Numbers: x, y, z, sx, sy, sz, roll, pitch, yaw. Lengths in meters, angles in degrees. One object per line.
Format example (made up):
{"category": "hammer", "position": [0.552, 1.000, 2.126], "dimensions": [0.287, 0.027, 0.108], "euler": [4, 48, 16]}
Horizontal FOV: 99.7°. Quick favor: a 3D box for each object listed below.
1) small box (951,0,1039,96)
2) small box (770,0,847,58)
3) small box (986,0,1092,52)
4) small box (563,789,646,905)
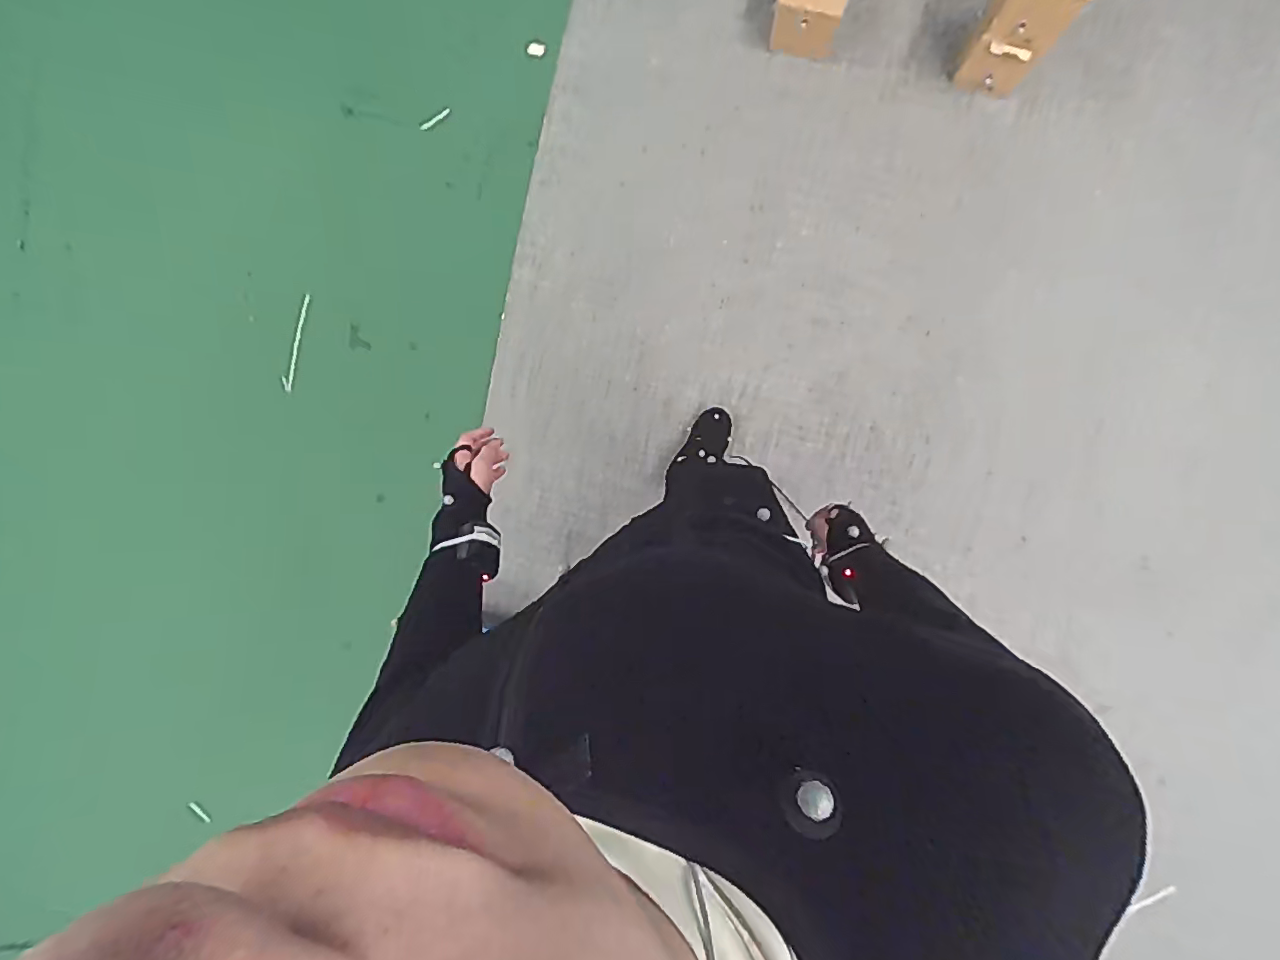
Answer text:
{"category": "small box", "position": [0.958, -1.168, 1.419], "dimensions": [0.168, 0.176, 0.179], "euler": [25, 95, 6]}
{"category": "small box", "position": [0.466, -1.299, 1.466], "dimensions": [0.179, 0.176, 0.168], "euler": [19, 94, 4]}
{"category": "small box", "position": [0.951, -1.163, 1.259], "dimensions": [0.168, 0.176, 0.179], "euler": [19, 95, 4]}
{"category": "small box", "position": [-0.086, 0.947, 1.418], "dimensions": [0.168, 0.176, 0.179], "euler": [16, 94, 5]}
